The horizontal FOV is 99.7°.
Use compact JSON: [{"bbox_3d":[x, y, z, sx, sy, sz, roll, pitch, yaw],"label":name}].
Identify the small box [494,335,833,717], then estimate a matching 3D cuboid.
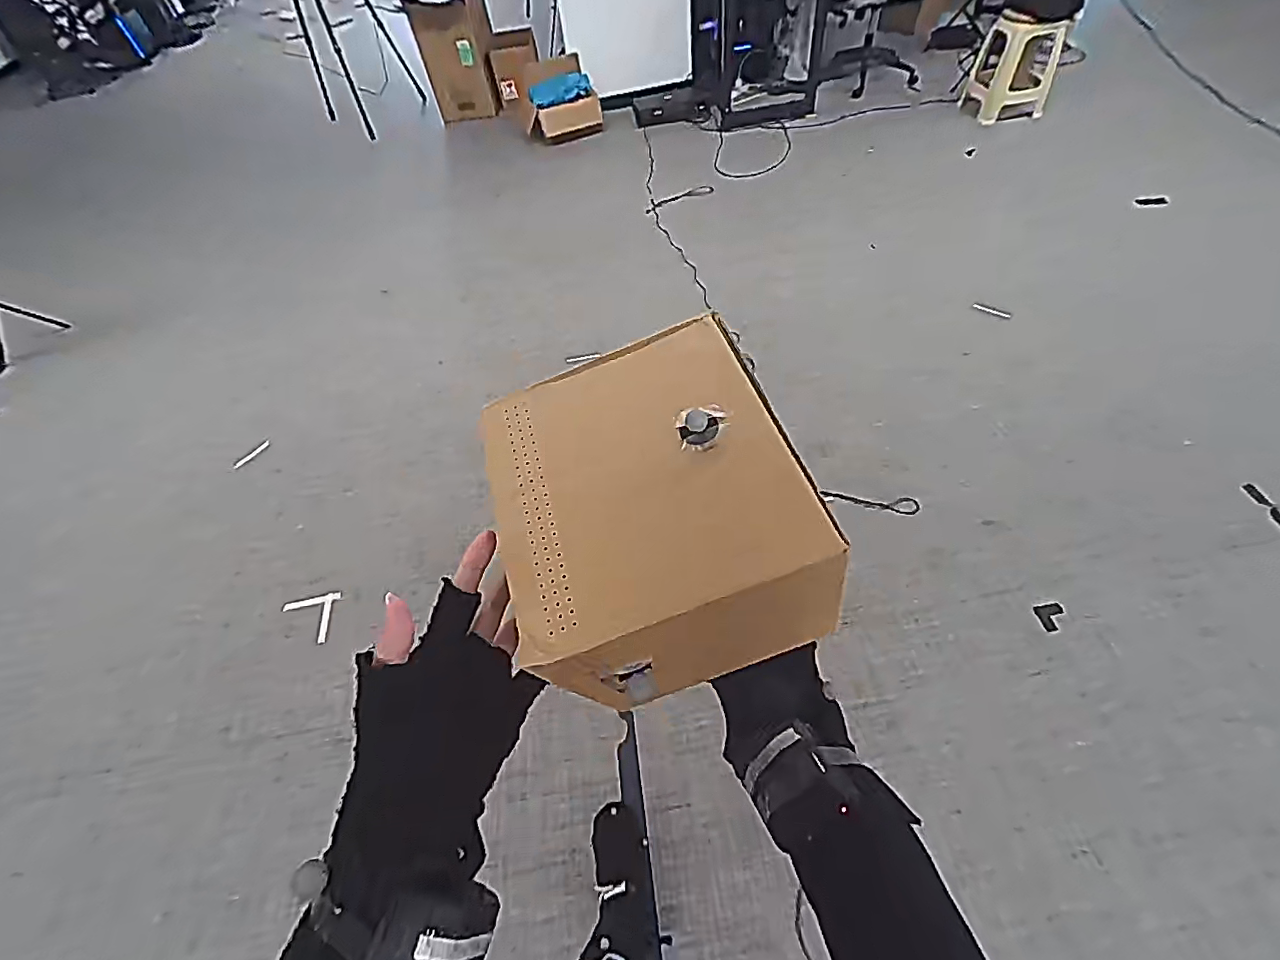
[{"bbox_3d":[0.013,0.039,0.377,0.176,0.168,0.179,-22,56,4],"label":"small box"}]
